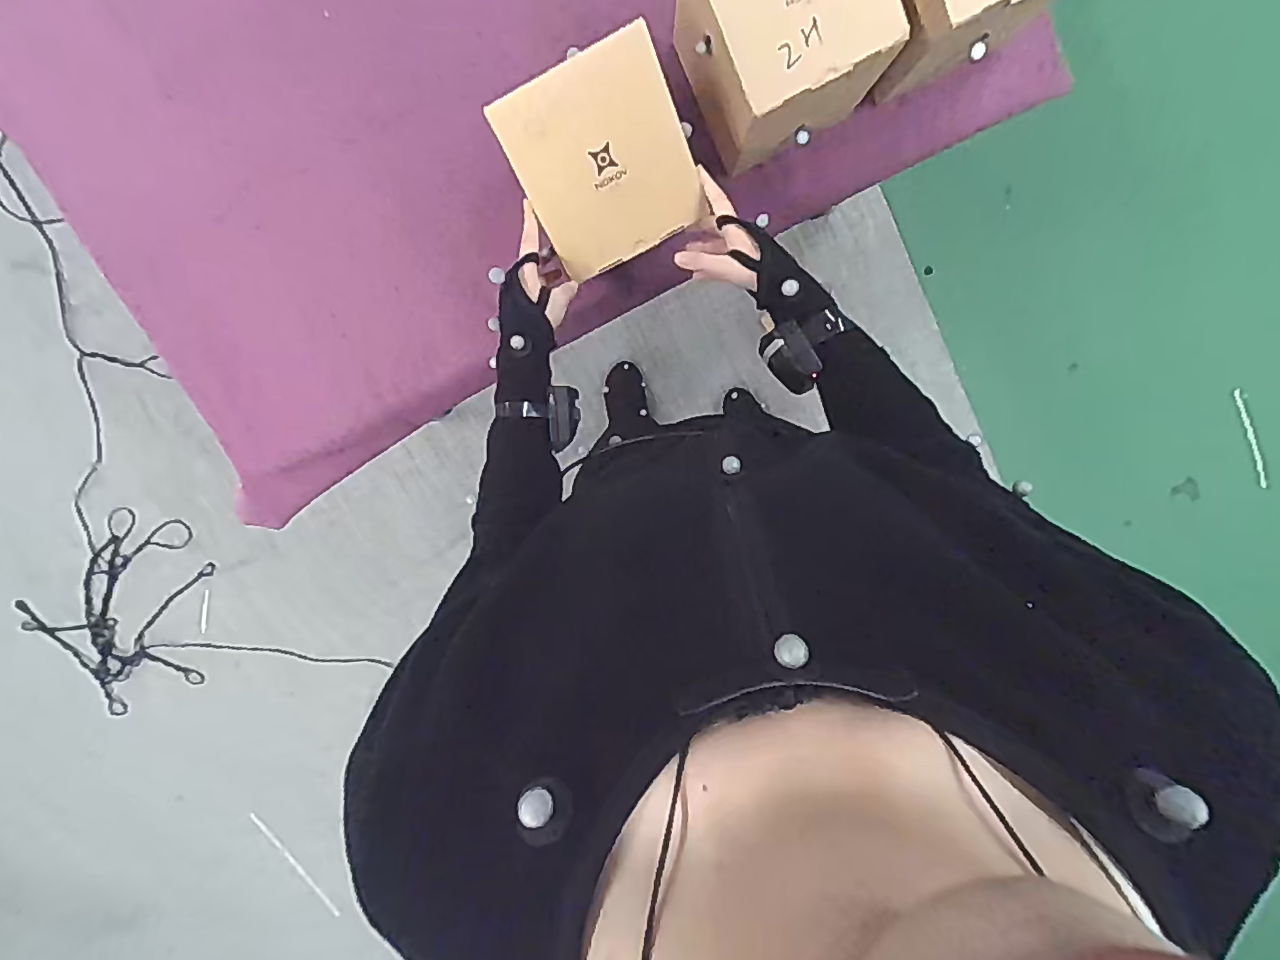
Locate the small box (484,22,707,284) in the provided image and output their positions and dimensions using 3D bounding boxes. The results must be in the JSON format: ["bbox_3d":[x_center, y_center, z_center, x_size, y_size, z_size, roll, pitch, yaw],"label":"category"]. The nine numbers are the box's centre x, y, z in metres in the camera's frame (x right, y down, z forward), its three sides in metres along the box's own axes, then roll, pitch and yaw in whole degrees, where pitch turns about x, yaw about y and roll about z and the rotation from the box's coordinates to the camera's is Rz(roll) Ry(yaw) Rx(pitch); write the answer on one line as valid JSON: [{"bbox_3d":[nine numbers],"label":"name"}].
[{"bbox_3d":[-0.050,-0.345,0.595,0.168,0.176,0.179,-26,121,5],"label":"small box"}]
